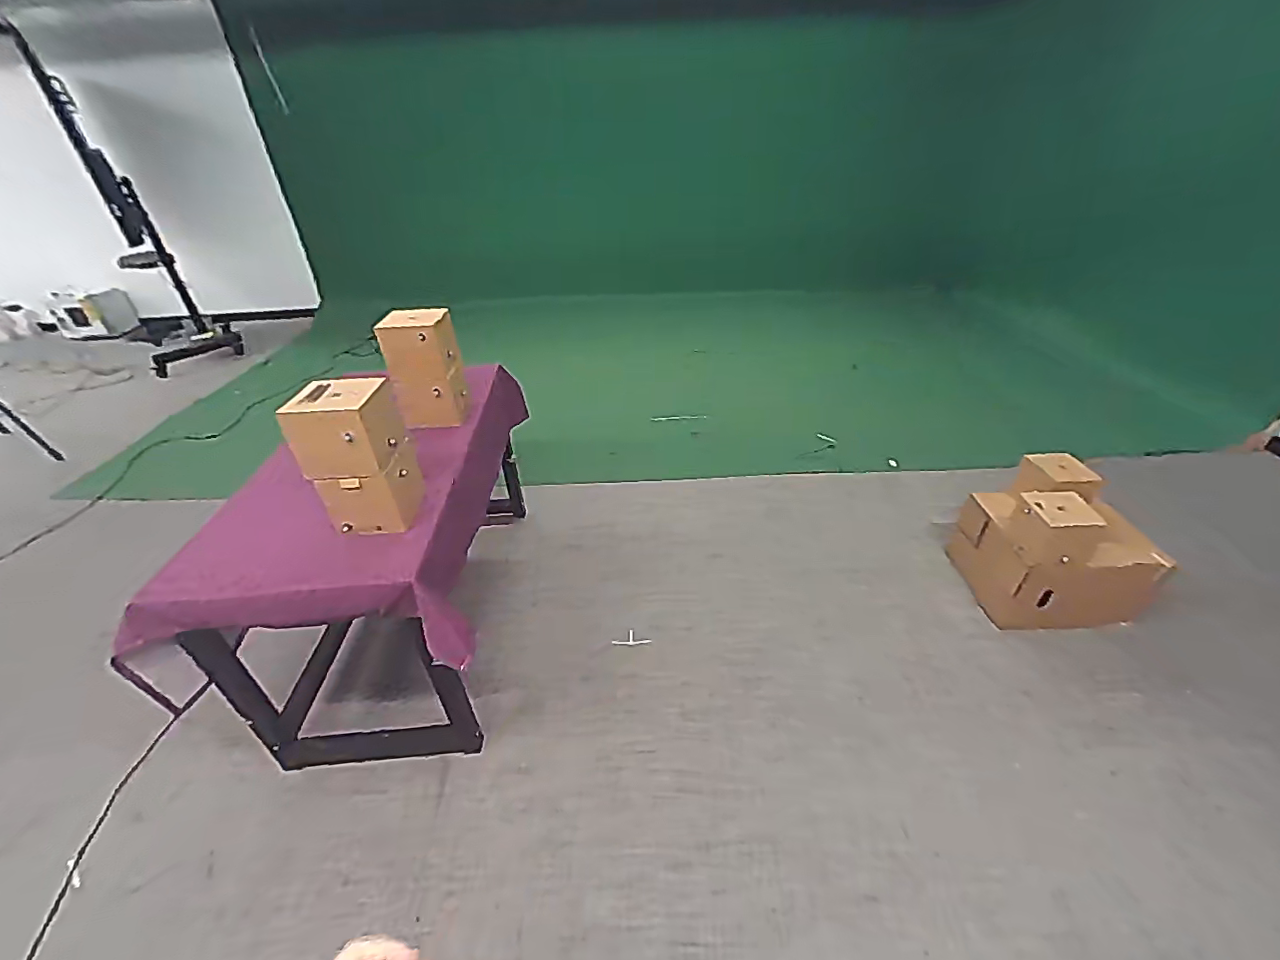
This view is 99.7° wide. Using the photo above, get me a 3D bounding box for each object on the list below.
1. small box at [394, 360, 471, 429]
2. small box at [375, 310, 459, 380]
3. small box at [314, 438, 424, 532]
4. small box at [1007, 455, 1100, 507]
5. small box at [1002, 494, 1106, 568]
[{"bbox_3d":[-0.665,-0.279,1.759,0.179,0.176,0.168,-3,34,0],"label":"small box"},{"bbox_3d":[-0.680,-0.416,1.671,0.179,0.176,0.168,-2,34,0],"label":"small box"},{"bbox_3d":[-0.651,0.017,1.326,0.168,0.176,0.179,-4,34,0],"label":"small box"},{"bbox_3d":[1.437,0.031,1.892,0.168,0.176,0.179,-1,33,-2],"label":"small box"},{"bbox_3d":[1.291,0.162,1.702,0.179,0.176,0.168,0,35,1],"label":"small box"}]
